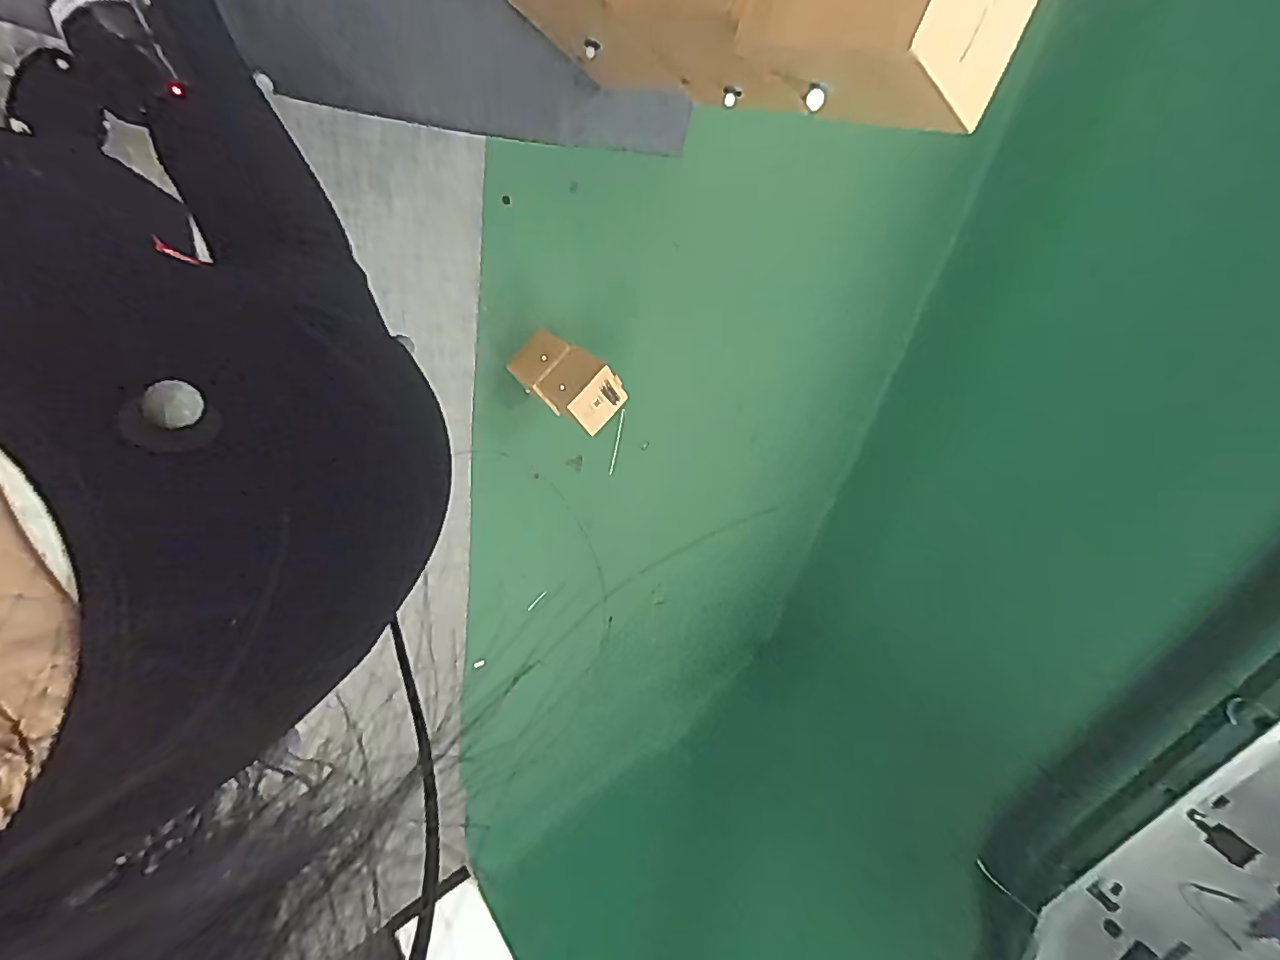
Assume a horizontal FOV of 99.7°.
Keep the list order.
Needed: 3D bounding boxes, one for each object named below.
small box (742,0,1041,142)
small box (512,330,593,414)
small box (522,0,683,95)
[{"bbox_3d":[0.211,-0.409,0.439,0.168,0.176,0.179,-7,124,-45],"label":"small box"},{"bbox_3d":[-0.291,-0.353,1.755,0.179,0.176,0.168,-48,144,-6],"label":"small box"},{"bbox_3d":[-0.016,-0.576,0.607,0.168,0.176,0.179,8,112,-50],"label":"small box"}]
